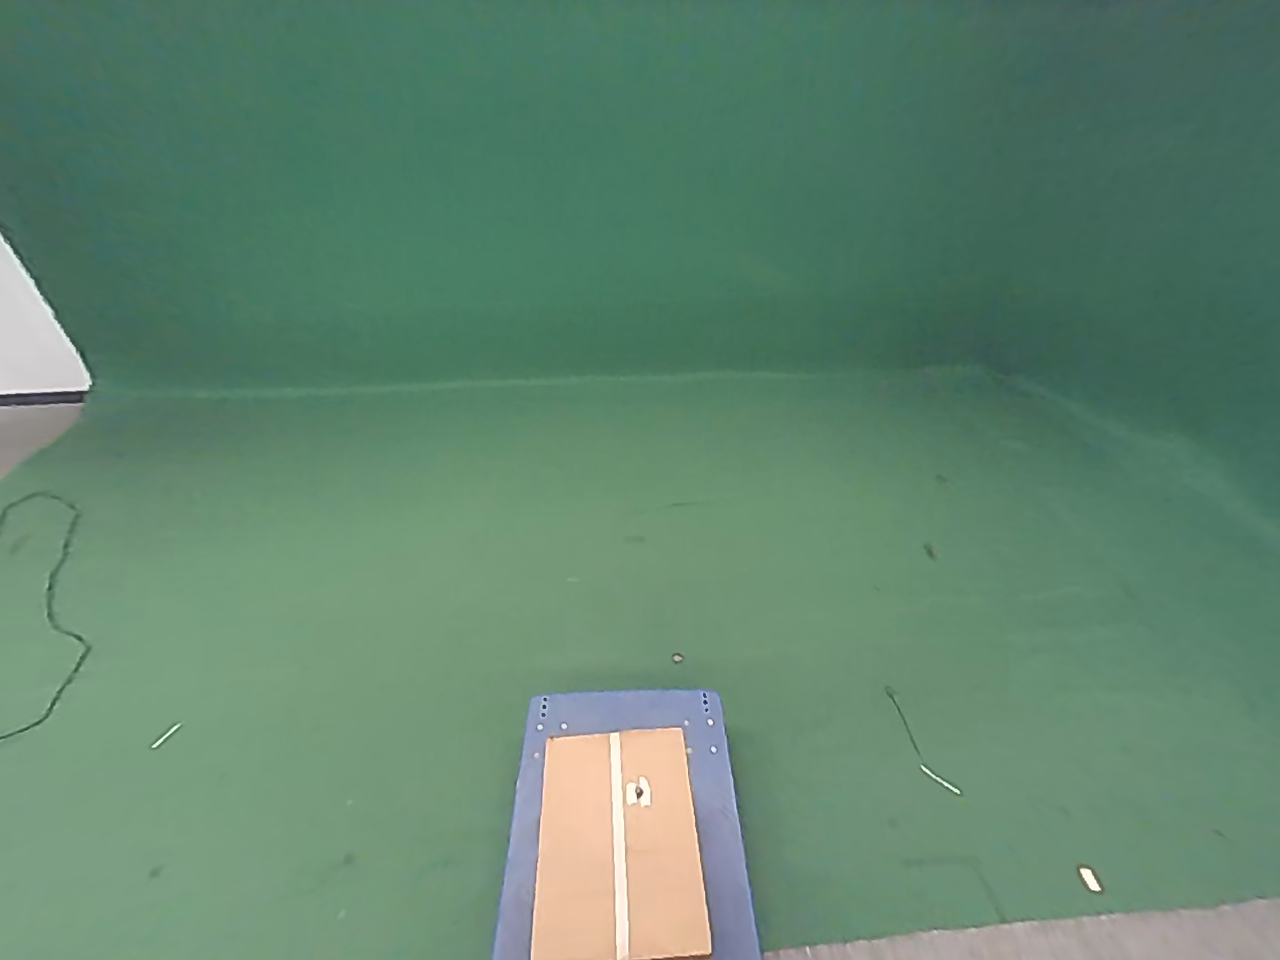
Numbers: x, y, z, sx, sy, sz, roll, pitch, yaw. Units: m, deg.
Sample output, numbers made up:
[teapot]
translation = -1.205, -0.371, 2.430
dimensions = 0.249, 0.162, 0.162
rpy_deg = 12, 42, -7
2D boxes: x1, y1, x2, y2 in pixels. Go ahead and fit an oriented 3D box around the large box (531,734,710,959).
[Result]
[large box]
translation = -0.044, 0.831, 1.164
dimensions = 0.320, 0.320, 0.408
rpy_deg = -3, 36, -3
